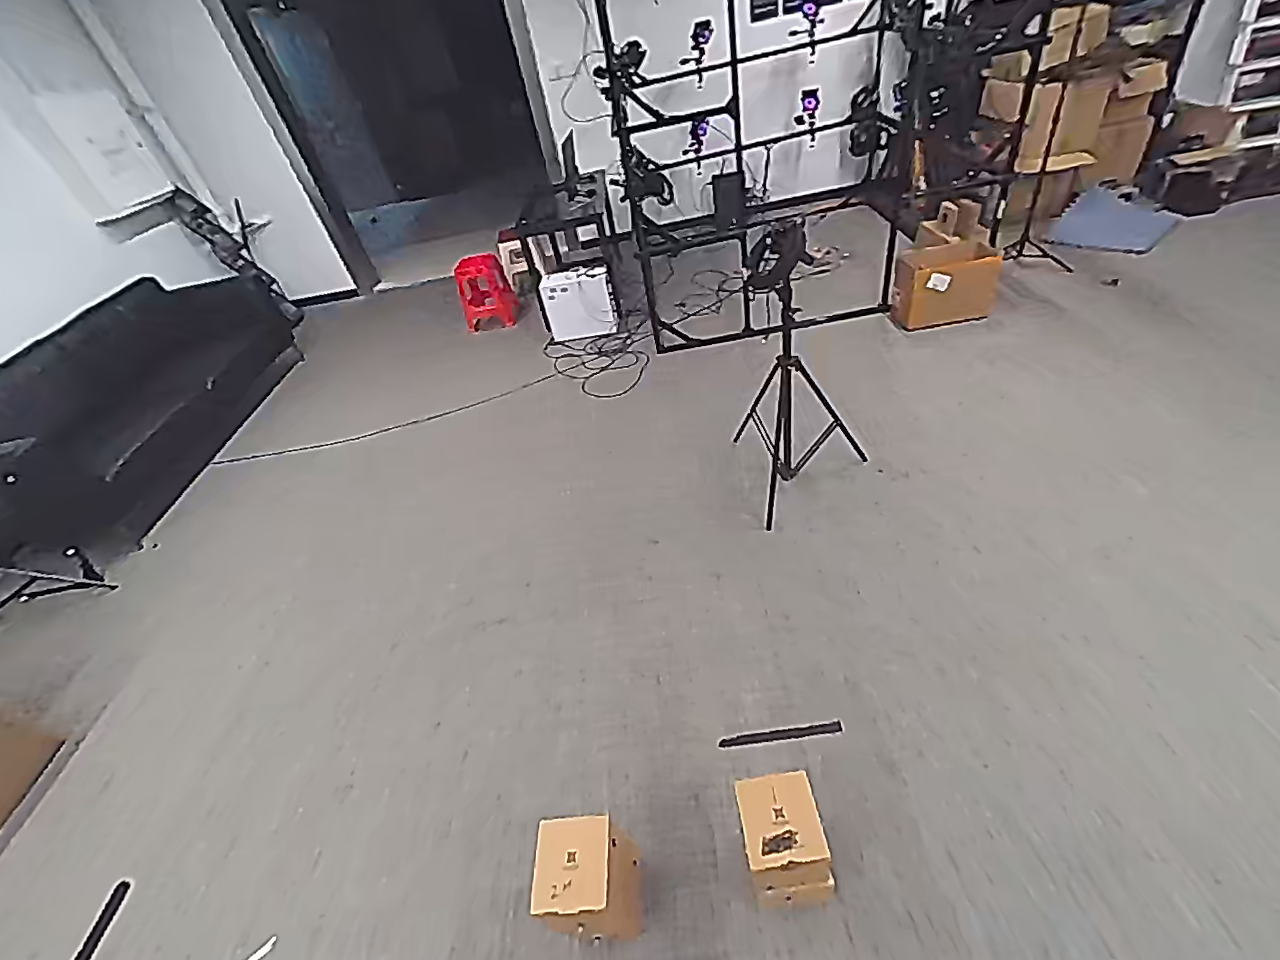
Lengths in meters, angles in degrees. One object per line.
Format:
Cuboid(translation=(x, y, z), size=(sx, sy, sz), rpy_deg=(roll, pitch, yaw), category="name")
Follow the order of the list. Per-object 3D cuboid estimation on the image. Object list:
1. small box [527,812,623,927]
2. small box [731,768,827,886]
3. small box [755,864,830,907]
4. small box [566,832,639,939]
Cuboid(translation=(-0.137, 0.874, 1.213), size=(0.168, 0.176, 0.179), rpy_deg=(-9, 41, 7), category="small box")
Cuboid(translation=(0.307, 0.776, 1.202), size=(0.168, 0.176, 0.179), rpy_deg=(-11, 39, 3), category="small box")
Cuboid(translation=(0.348, 0.901, 1.301), size=(0.168, 0.176, 0.179), rpy_deg=(-11, 39, 3), category="small box")
Cuboid(translation=(-0.099, 0.992, 1.321), size=(0.168, 0.176, 0.179), rpy_deg=(-9, 40, 7), category="small box")
